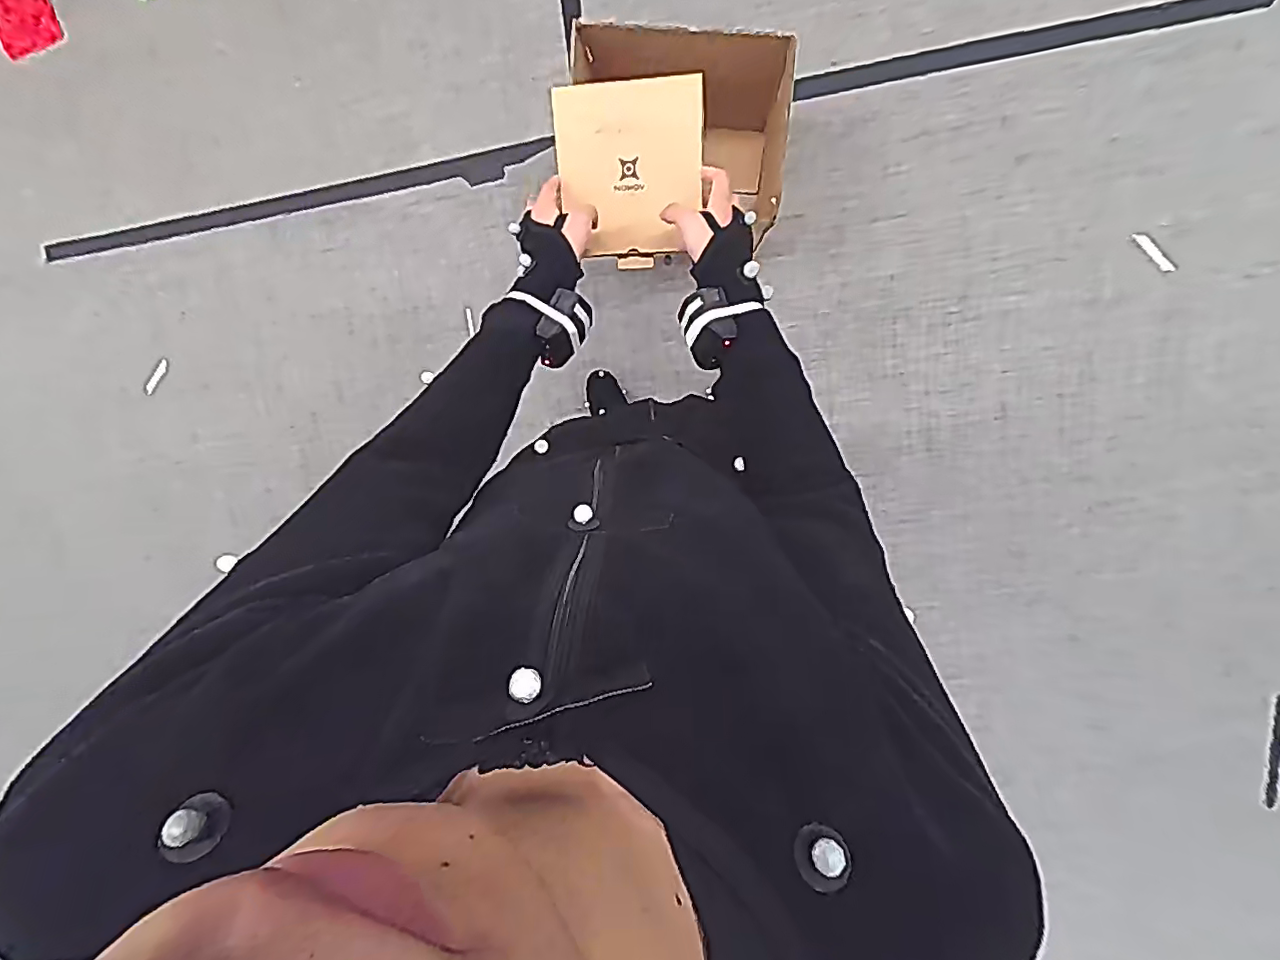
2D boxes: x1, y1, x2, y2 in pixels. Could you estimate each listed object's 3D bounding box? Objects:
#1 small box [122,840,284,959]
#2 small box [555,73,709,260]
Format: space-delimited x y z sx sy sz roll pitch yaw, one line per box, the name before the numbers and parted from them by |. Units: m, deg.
small box | -0.895 0.886 1.124 0.179 0.176 0.168 -8 103 9
small box | 0.002 -0.377 0.675 0.168 0.176 0.179 0 114 7
